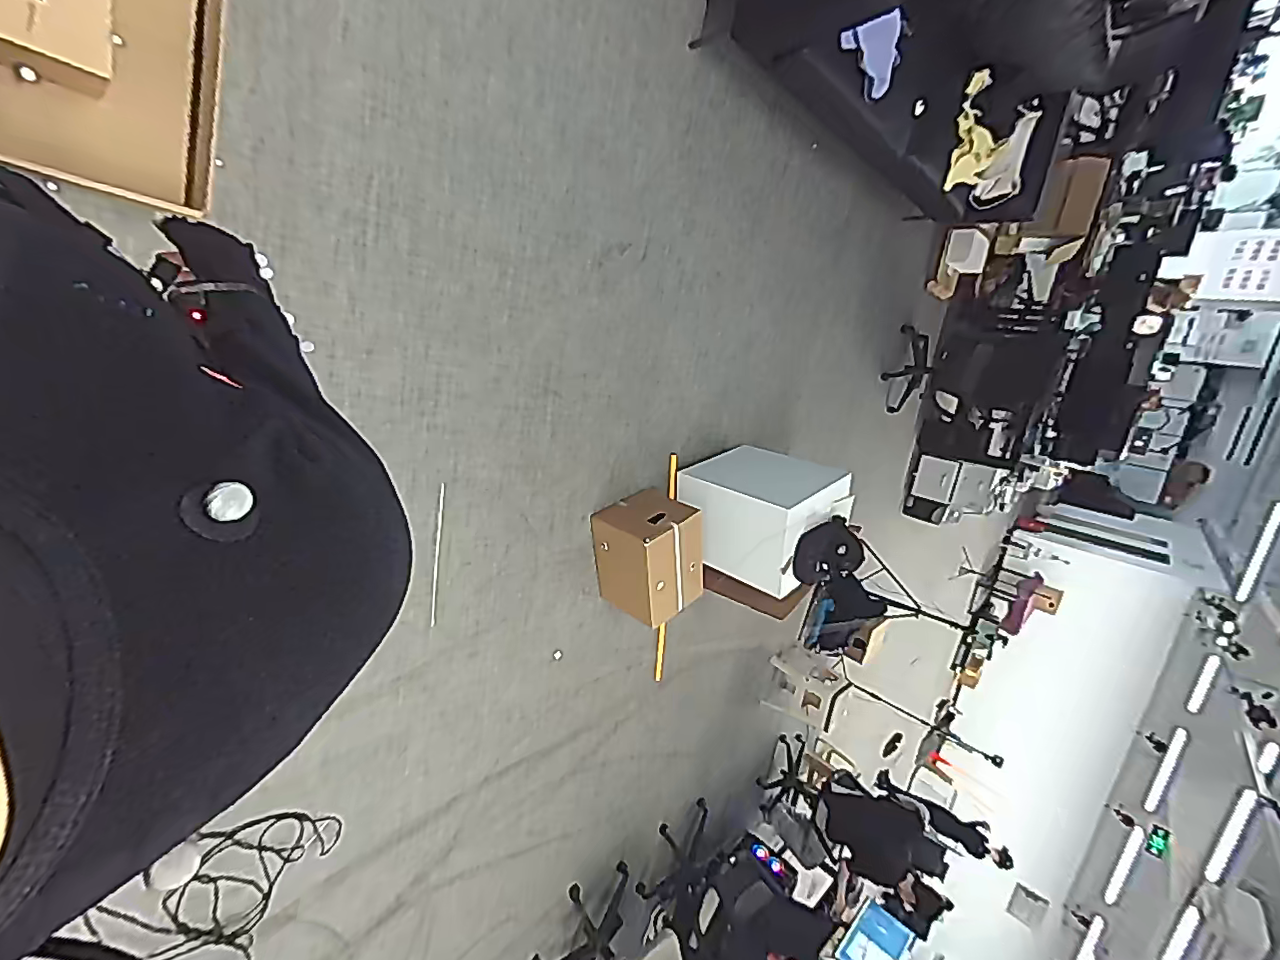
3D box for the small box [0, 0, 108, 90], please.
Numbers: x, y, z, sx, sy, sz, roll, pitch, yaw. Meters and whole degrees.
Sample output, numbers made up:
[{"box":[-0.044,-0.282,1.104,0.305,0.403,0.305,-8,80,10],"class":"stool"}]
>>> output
[{"box":[-0.909,-0.723,0.798,0.168,0.176,0.179,-2,106,-48],"class":"small box"}]
